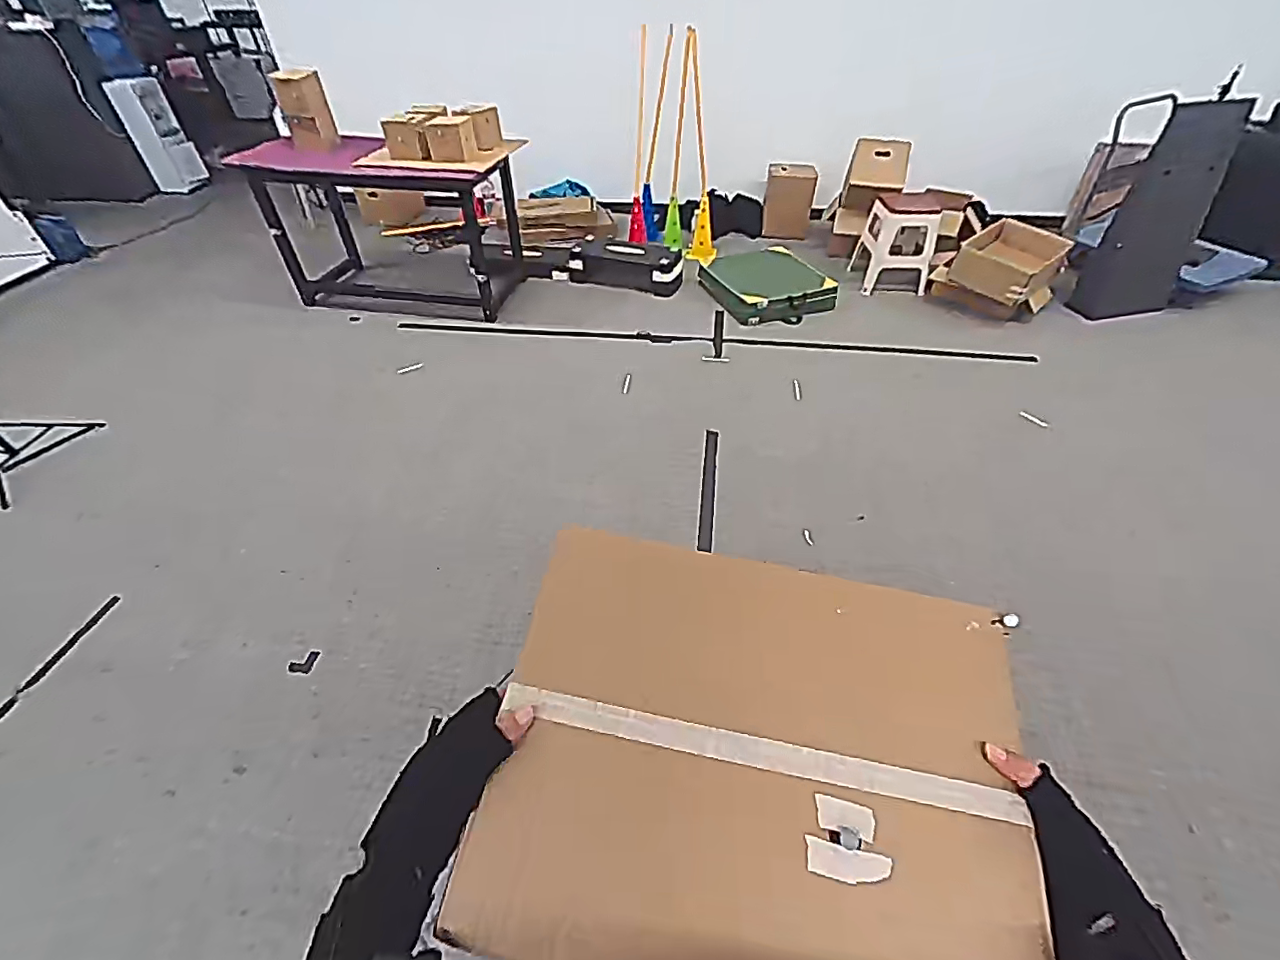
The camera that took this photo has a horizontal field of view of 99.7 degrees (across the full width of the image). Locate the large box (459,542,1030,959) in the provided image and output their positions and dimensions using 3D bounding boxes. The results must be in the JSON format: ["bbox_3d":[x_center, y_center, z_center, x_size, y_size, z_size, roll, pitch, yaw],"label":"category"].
[{"bbox_3d":[0.087,0.296,0.563,0.408,0.320,0.320,11,60,4],"label":"large box"}]
